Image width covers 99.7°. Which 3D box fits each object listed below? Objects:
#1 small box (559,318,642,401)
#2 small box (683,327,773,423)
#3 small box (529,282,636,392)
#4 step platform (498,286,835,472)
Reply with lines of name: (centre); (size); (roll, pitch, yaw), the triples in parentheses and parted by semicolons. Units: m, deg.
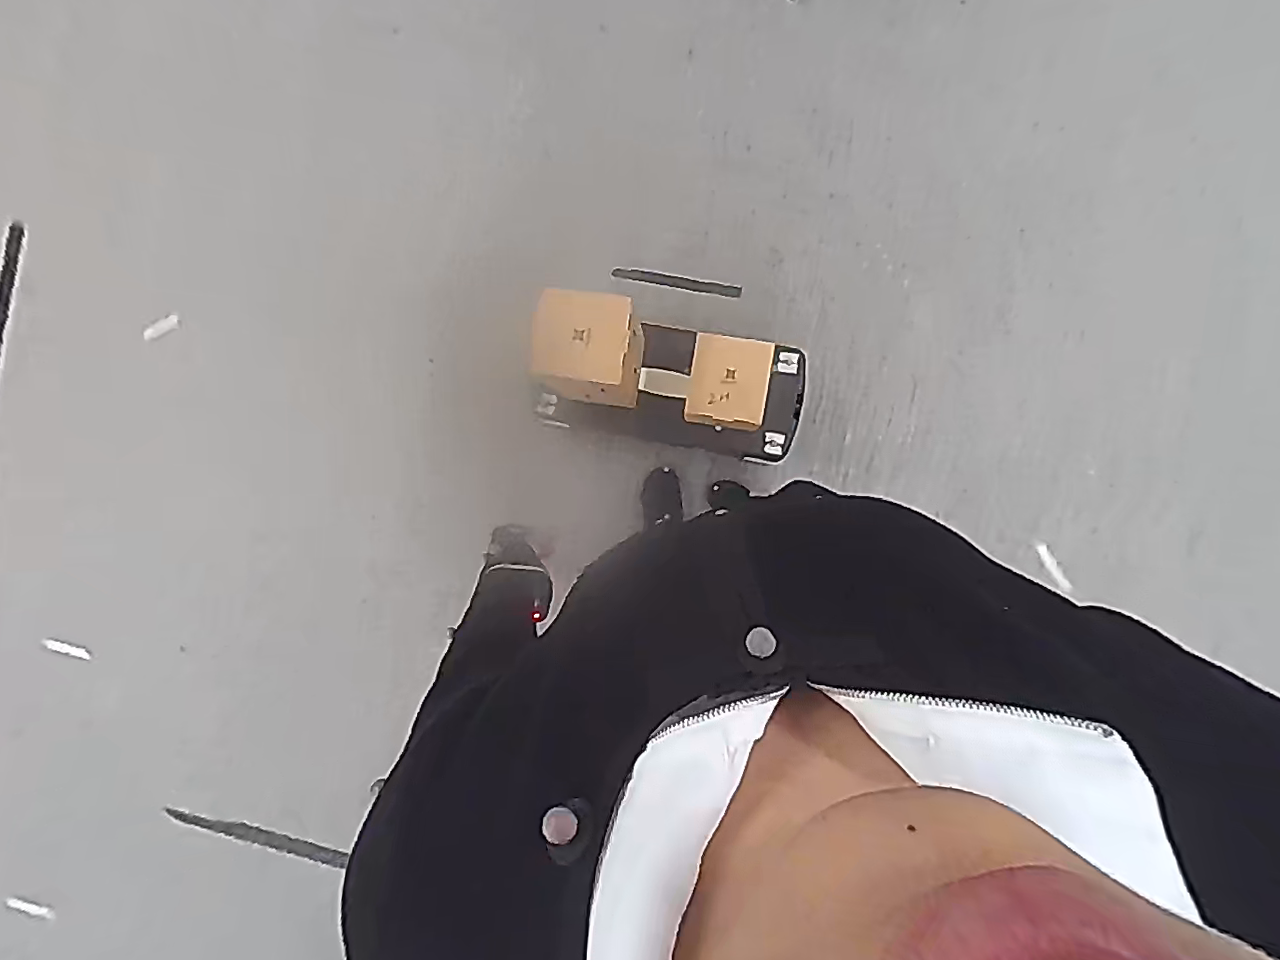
small box: (-0.094, -0.279, 1.241); (0.179, 0.176, 0.168); (9, 92, 4)
small box: (0.192, -0.227, 1.221); (0.168, 0.176, 0.179); (11, 92, 6)
small box: (-0.106, -0.276, 1.078); (0.179, 0.176, 0.168); (8, 90, 4)
step platform: (0.053, -0.214, 1.195); (0.684, 0.204, 0.286); (11, 91, 3)
